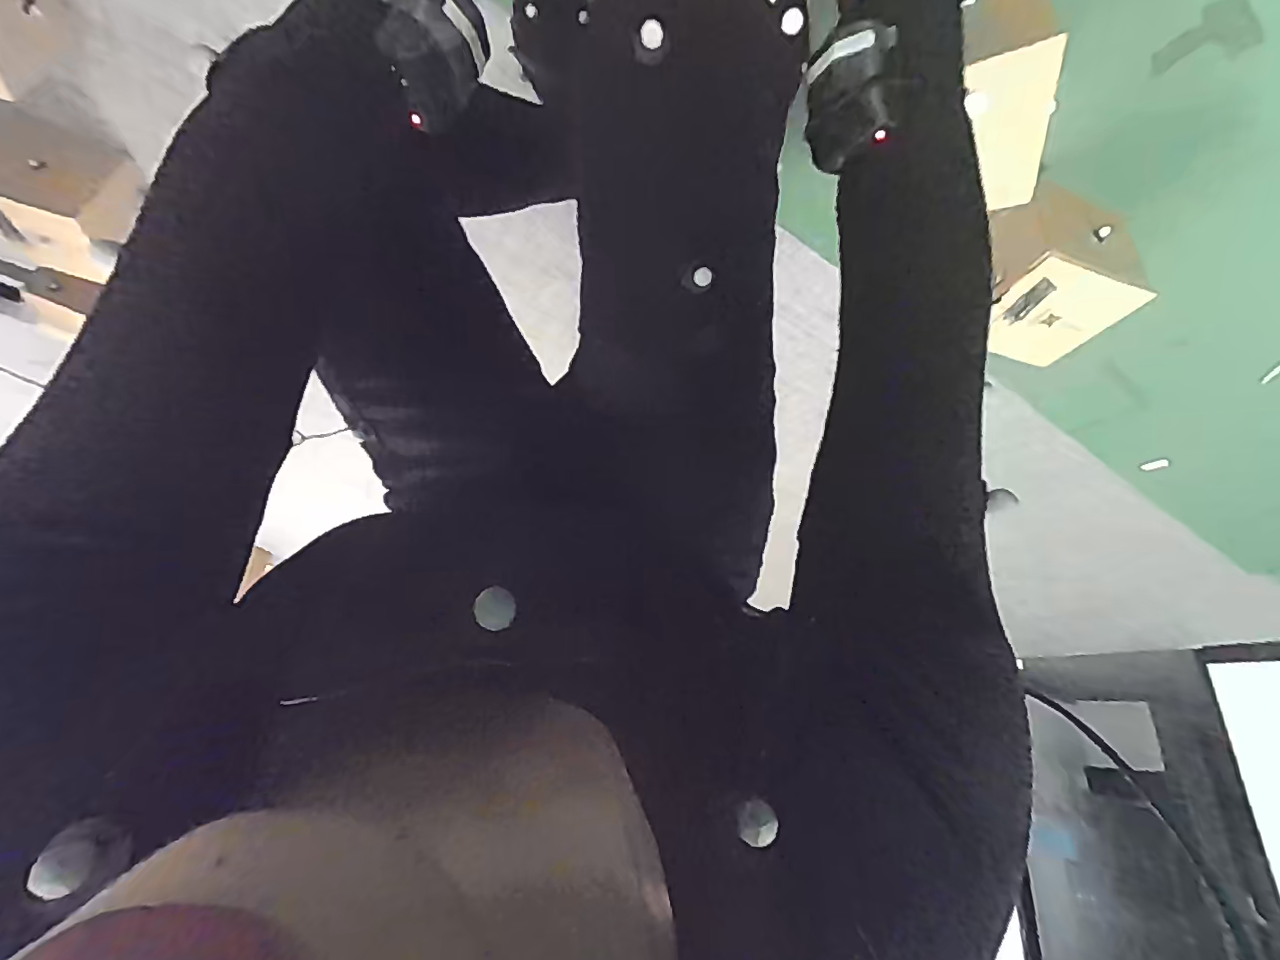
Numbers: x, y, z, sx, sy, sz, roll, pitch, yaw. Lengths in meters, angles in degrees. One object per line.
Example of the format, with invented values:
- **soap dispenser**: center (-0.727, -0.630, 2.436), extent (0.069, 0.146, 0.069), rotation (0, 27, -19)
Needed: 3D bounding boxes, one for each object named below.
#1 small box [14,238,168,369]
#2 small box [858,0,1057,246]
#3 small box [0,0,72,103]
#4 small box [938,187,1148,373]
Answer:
- **small box**: center (-1.158, -0.377, 1.163), extent (0.179, 0.176, 0.168), rotation (25, 150, -28)
- **small box**: center (0.347, -0.413, 0.623), extent (0.168, 0.176, 0.179), rotation (-5, 150, 24)
- **small box**: center (-0.817, -0.596, 0.617), extent (0.179, 0.176, 0.168), rotation (20, 151, -21)
- **small box**: center (0.571, -0.291, 0.794), extent (0.179, 0.176, 0.168), rotation (14, 153, -11)
